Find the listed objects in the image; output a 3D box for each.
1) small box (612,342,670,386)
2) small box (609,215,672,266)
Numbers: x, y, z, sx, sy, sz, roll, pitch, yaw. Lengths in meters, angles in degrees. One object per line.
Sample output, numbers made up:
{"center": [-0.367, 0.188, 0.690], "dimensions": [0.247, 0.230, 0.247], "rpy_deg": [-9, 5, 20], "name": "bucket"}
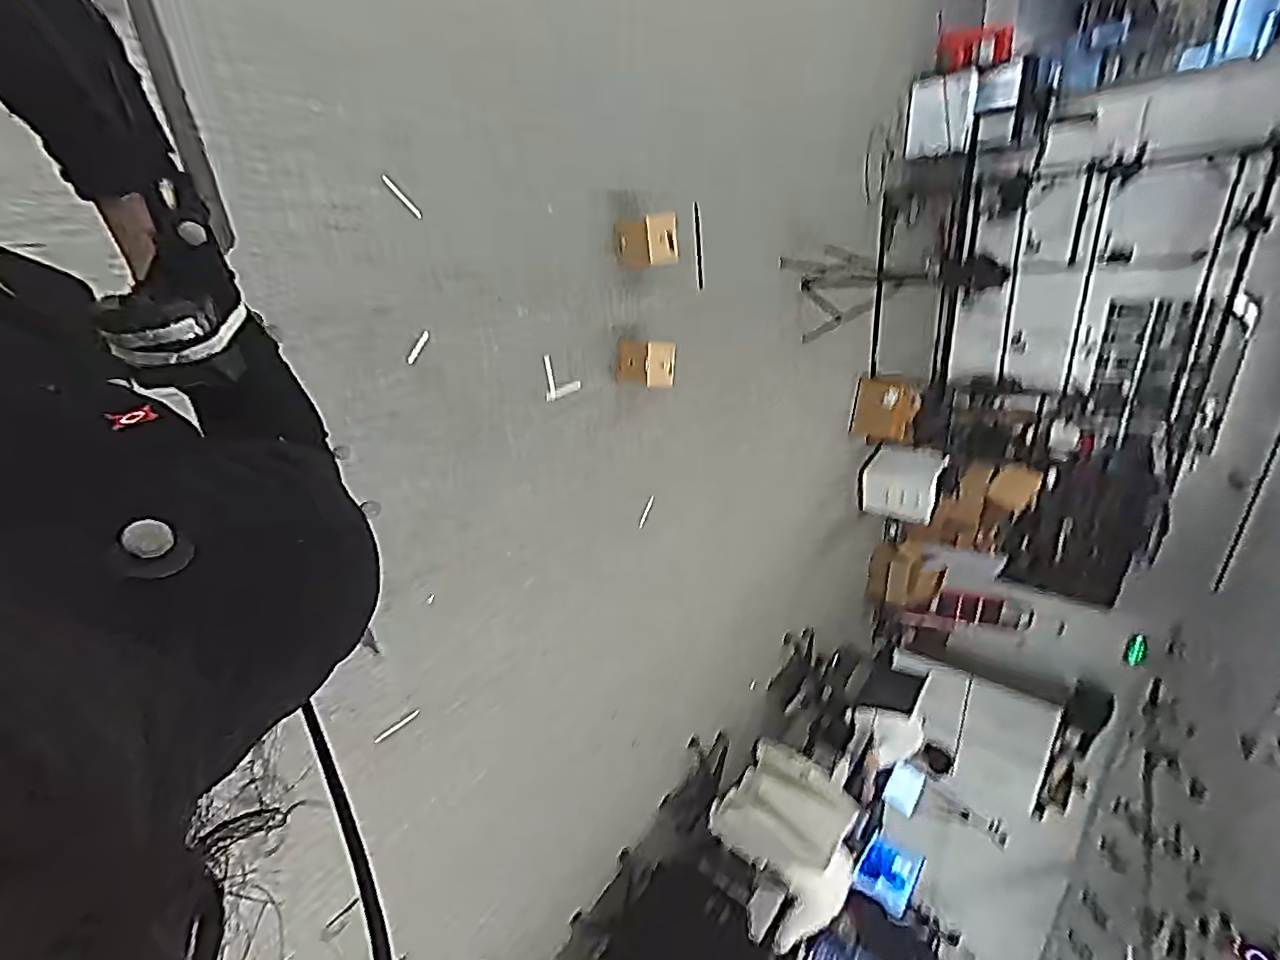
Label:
{"center": [0.000, -0.479, 2.230], "dimensions": [0.179, 0.176, 0.168], "rpy_deg": [-11, 110, -48], "name": "small box"}
{"center": [0.004, -0.927, 2.095], "dimensions": [0.179, 0.176, 0.168], "rpy_deg": [-31, 123, -41], "name": "small box"}
